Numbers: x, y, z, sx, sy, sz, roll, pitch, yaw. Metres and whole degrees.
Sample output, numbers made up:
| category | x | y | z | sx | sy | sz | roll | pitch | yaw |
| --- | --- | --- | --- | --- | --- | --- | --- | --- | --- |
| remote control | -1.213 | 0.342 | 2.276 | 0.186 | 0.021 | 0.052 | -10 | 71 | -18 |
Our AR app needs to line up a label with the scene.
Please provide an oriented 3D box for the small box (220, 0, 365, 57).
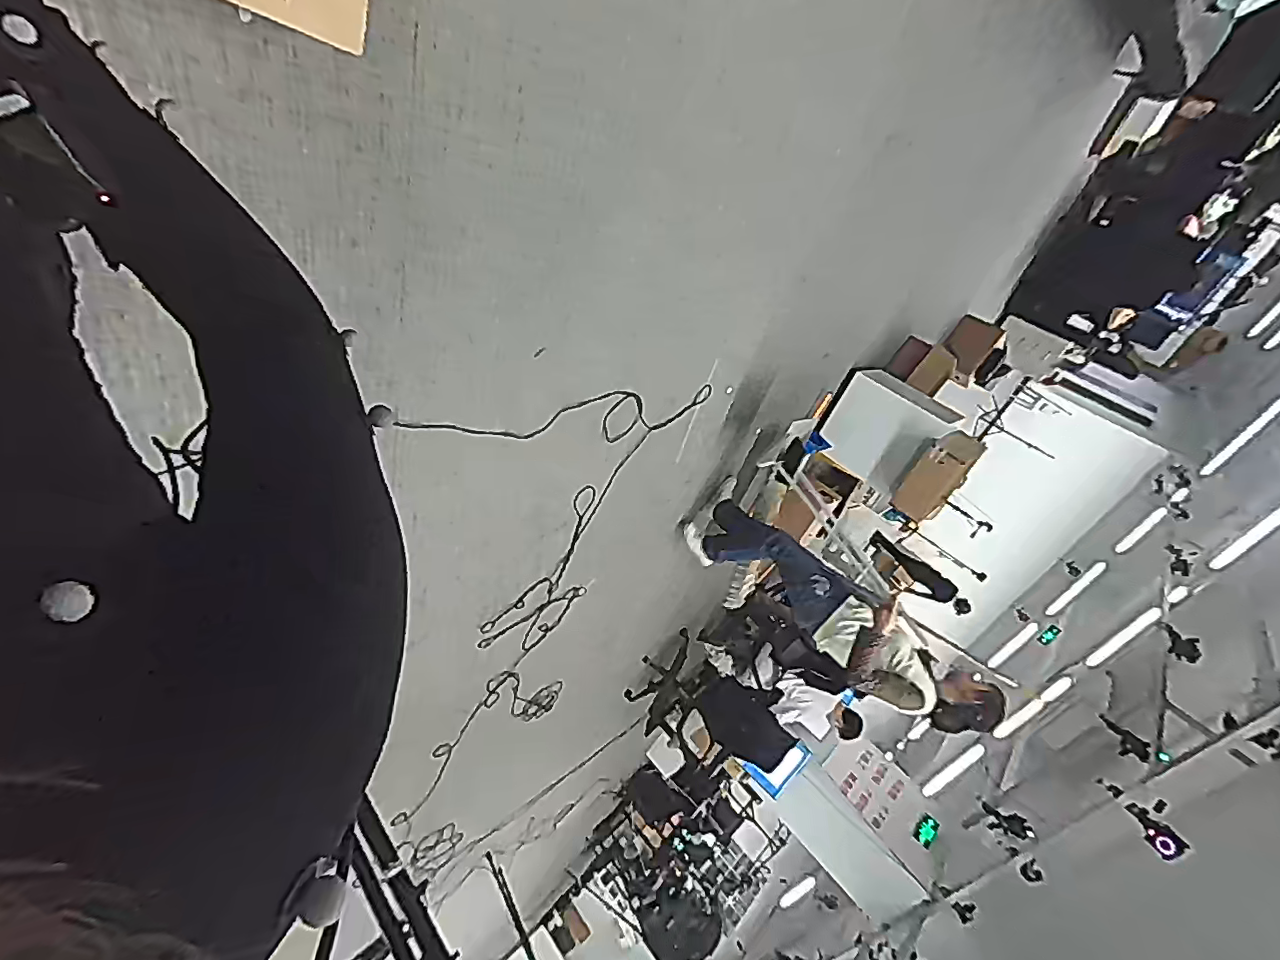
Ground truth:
| category | x | y | z | sx | sy | sz | roll | pitch | yaw |
| --- | --- | --- | --- | --- | --- | --- | --- | --- | --- |
| small box | -0.414 | -0.612 | 0.585 | 0.168 | 0.176 | 0.179 | -15 | 138 | -49 |
